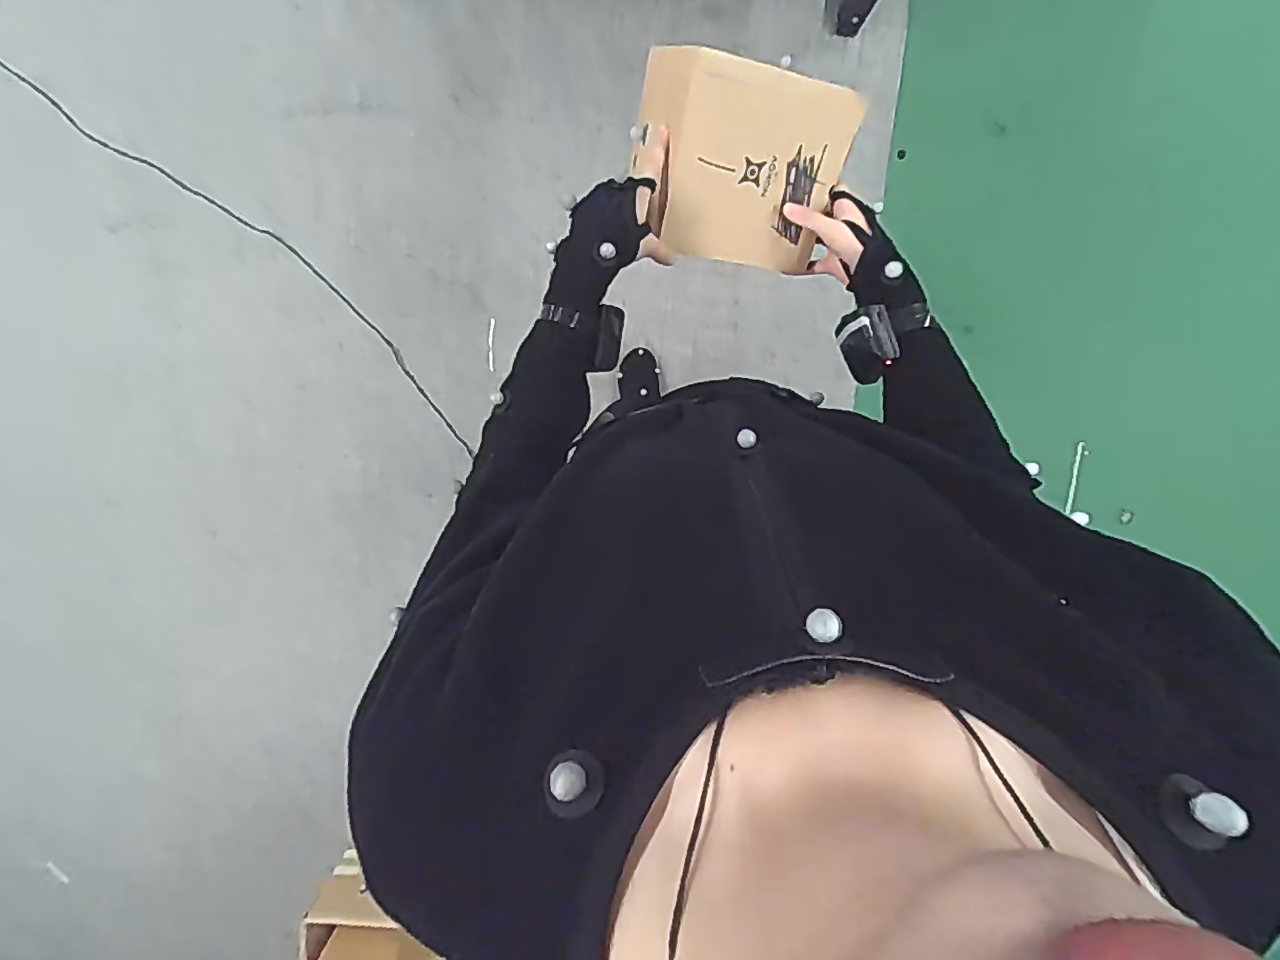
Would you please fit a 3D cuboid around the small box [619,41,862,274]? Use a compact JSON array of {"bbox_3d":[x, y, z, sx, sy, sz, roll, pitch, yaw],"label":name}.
[{"bbox_3d":[0.089,-0.341,0.576,0.179,0.176,0.168,5,125,-18],"label":"small box"}]
